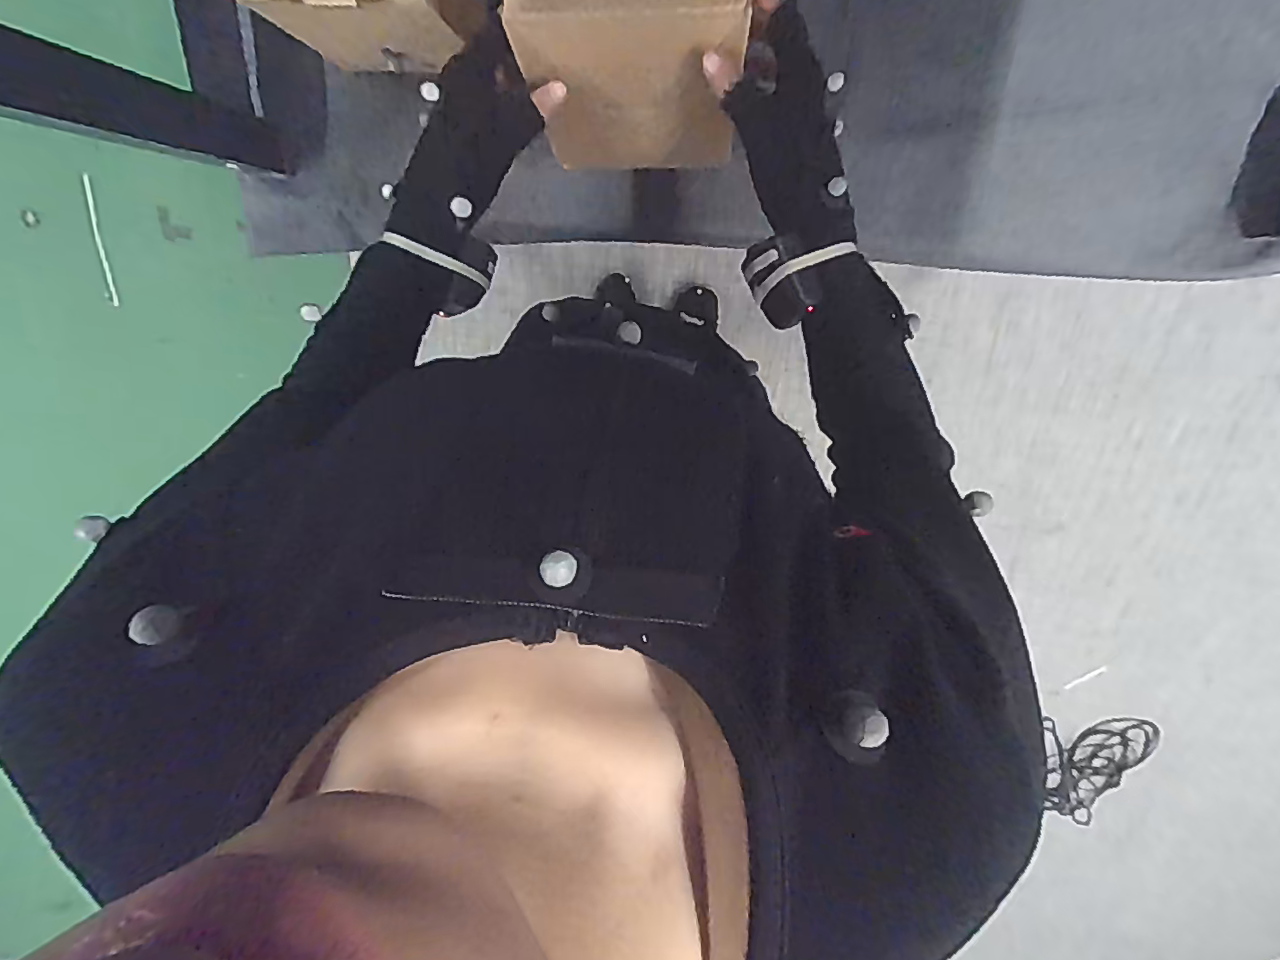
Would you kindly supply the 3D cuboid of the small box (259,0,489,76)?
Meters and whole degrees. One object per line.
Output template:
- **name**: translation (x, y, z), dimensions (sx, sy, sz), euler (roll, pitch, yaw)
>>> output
- **small box**: translation (-0.243, -0.499, 0.484), dimensions (0.168, 0.176, 0.179), euler (3, 110, 3)

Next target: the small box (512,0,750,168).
- **small box**: translation (0.000, -0.380, 0.436), dimensions (0.168, 0.179, 0.176), euler (2, 88, 4)
